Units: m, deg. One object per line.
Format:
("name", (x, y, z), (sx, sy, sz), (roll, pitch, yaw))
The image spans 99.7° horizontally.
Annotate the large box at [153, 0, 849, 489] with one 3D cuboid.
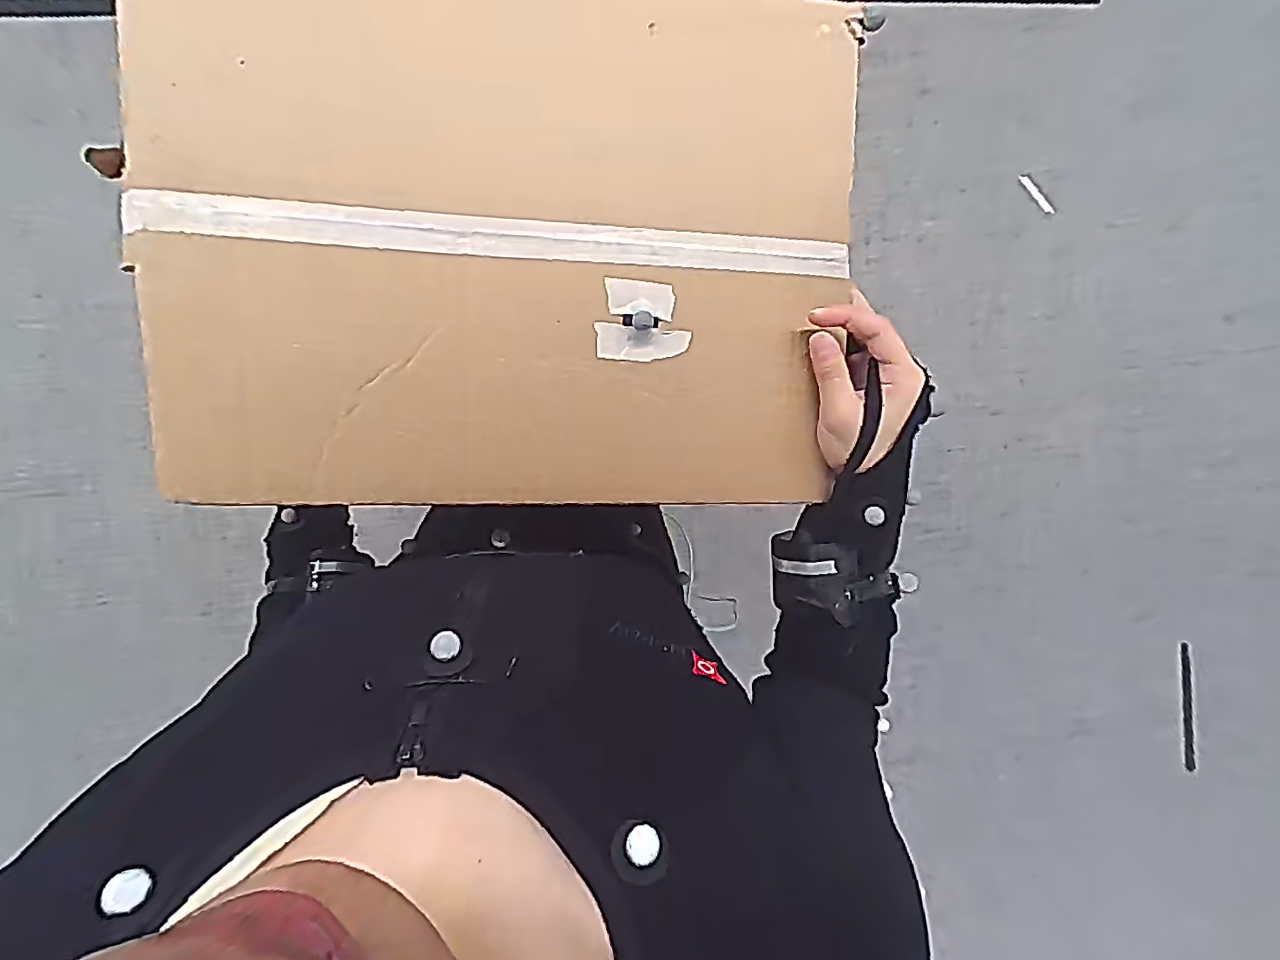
("large box", (-0.089, -0.166, 0.472), (0.408, 0.320, 0.320), (0, 97, -11))
